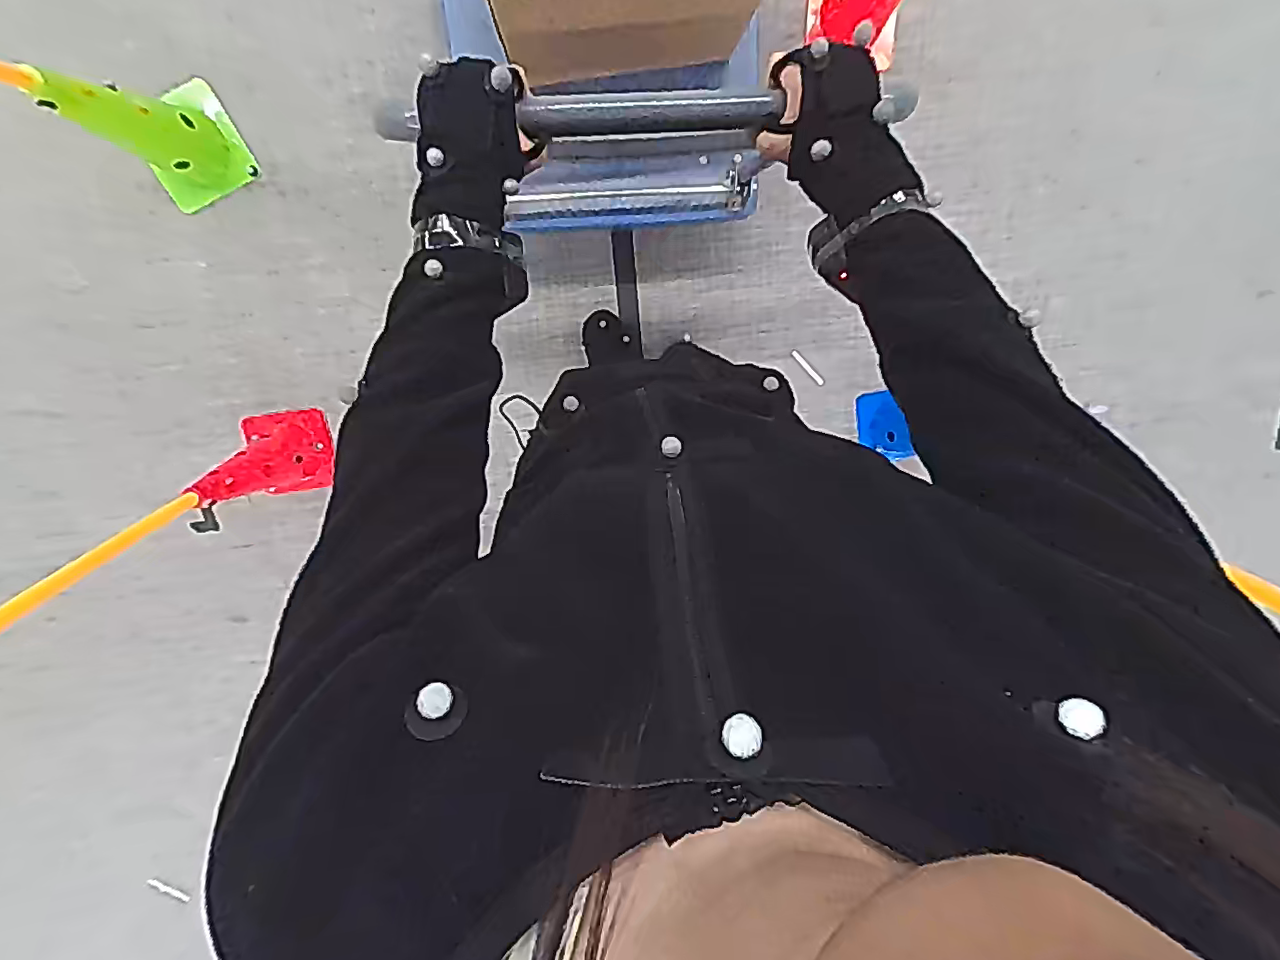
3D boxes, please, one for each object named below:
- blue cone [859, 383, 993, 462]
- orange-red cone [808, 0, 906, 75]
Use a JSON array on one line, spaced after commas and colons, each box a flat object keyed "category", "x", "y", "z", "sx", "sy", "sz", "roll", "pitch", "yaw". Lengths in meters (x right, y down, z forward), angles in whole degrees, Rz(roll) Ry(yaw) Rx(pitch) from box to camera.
[{"category": "blue cone", "x": 0.698, "y": -0.106, "z": 1.291, "sx": 0.193, "sy": 0.380, "sz": 0.192, "roll": -11, "pitch": 106, "yaw": -2}, {"category": "orange-red cone", "x": 0.483, "y": -0.944, "z": 1.005, "sx": 0.199, "sy": 0.360, "sz": 0.198, "roll": -1, "pitch": 107, "yaw": -6}]
